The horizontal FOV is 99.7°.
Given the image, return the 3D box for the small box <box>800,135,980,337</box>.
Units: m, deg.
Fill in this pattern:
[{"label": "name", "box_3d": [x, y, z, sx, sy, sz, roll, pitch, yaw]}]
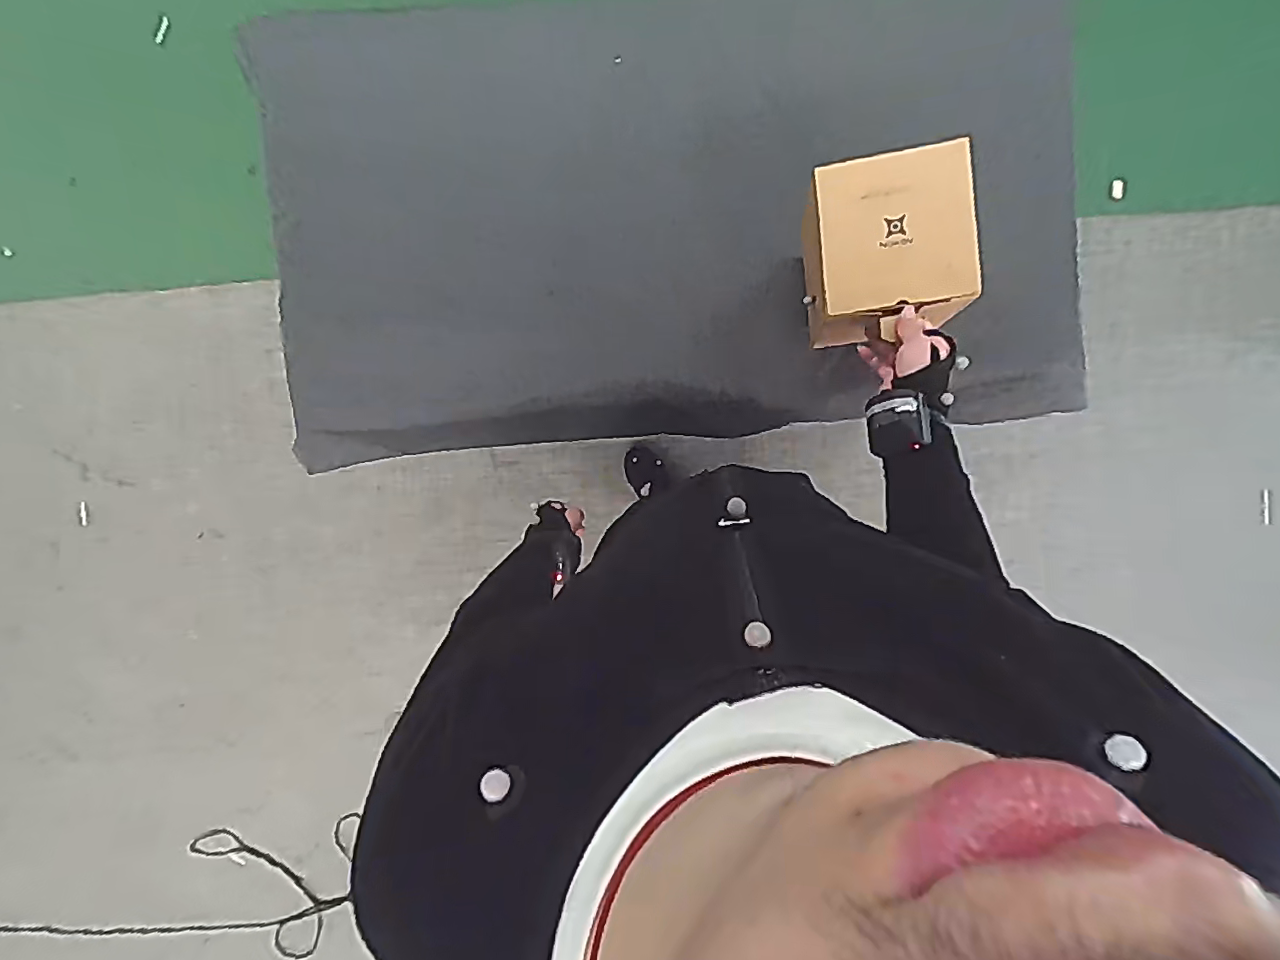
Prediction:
[{"label": "small box", "box_3d": [0.301, -0.287, 0.684, 0.168, 0.176, 0.179, -5, 90, 9]}]
